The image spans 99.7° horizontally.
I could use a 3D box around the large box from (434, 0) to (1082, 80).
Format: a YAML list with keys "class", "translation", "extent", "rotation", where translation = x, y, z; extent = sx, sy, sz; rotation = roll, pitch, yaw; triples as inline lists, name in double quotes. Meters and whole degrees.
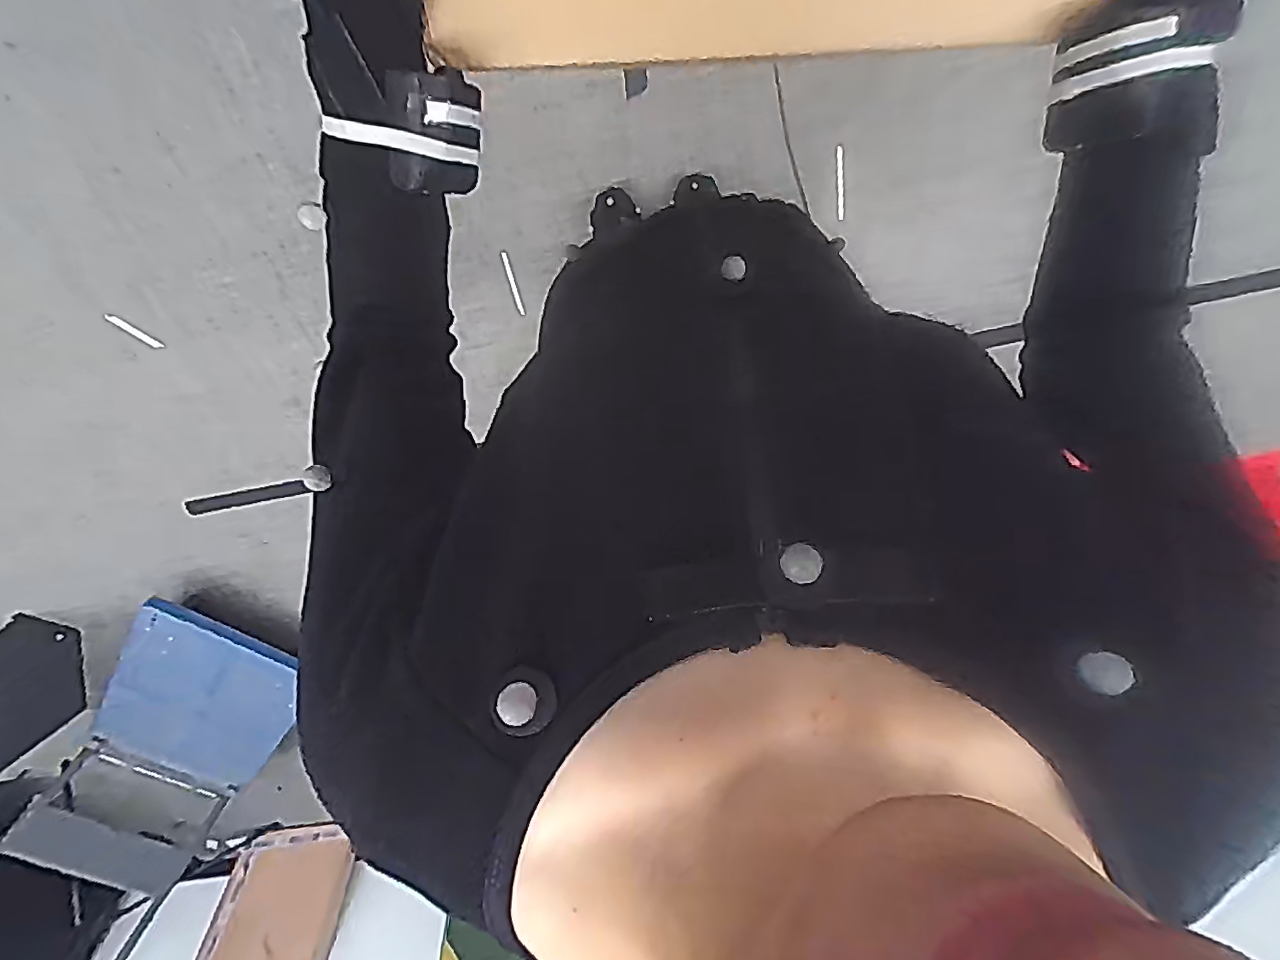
- class: "large box"
  translation: [0.061, -0.482, 0.371]
  extent: [0.408, 0.320, 0.320]
  rotation: [-3, 127, 0]
